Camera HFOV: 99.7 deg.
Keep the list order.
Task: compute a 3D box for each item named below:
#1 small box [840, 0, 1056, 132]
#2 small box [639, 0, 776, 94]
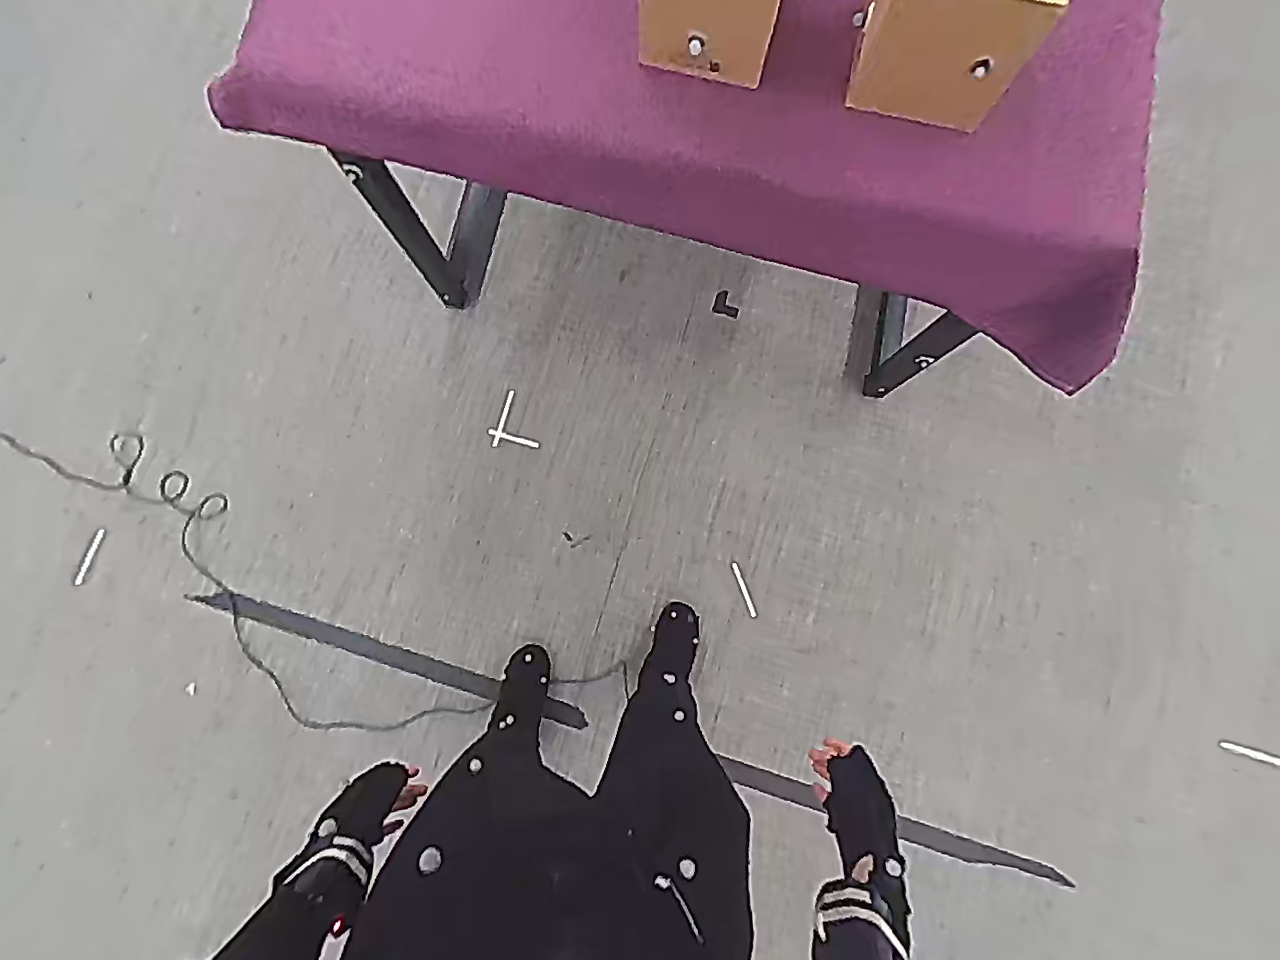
[{"bbox_3d":[0.370,-0.570,0.665,0.179,0.176,0.168,12,80,3],"label":"small box"},{"bbox_3d":[0.094,-0.636,0.671,0.168,0.176,0.179,13,82,2],"label":"small box"}]
